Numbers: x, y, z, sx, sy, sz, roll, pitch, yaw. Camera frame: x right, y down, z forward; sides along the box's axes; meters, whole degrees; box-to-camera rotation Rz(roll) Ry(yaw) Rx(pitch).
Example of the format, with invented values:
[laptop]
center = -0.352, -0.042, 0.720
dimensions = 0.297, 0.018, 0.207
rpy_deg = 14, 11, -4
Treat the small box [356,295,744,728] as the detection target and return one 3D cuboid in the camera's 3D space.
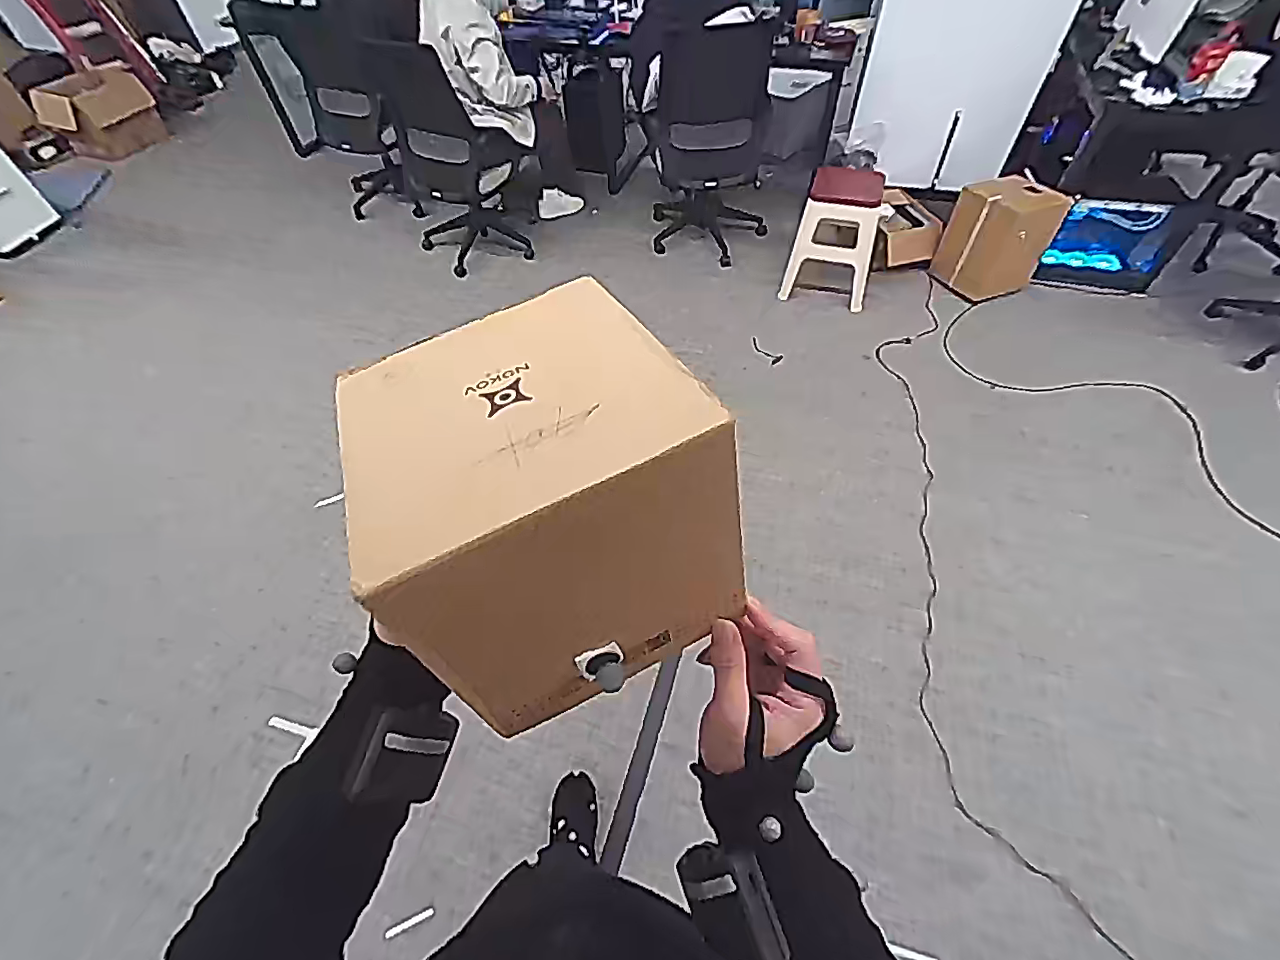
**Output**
[small box]
center = -0.050, 0.017, 0.340
dimensions = 0.168, 0.176, 0.179
rpy_deg = -26, 47, -11
